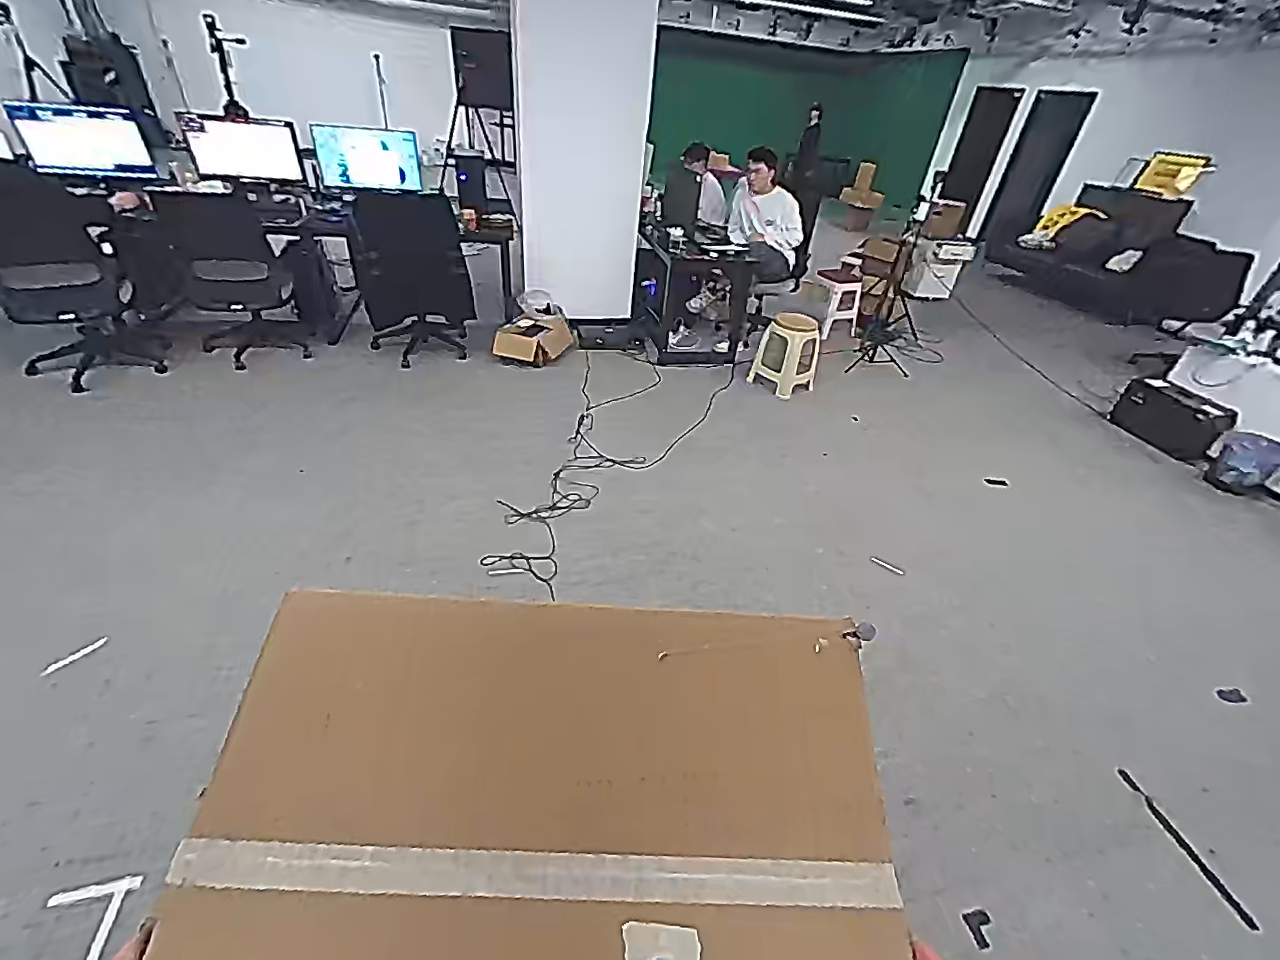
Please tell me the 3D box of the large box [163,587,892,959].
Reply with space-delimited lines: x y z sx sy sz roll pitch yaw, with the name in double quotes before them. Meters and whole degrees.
"large box" -0.063 0.296 0.449 0.408 0.320 0.320 4 60 -2
